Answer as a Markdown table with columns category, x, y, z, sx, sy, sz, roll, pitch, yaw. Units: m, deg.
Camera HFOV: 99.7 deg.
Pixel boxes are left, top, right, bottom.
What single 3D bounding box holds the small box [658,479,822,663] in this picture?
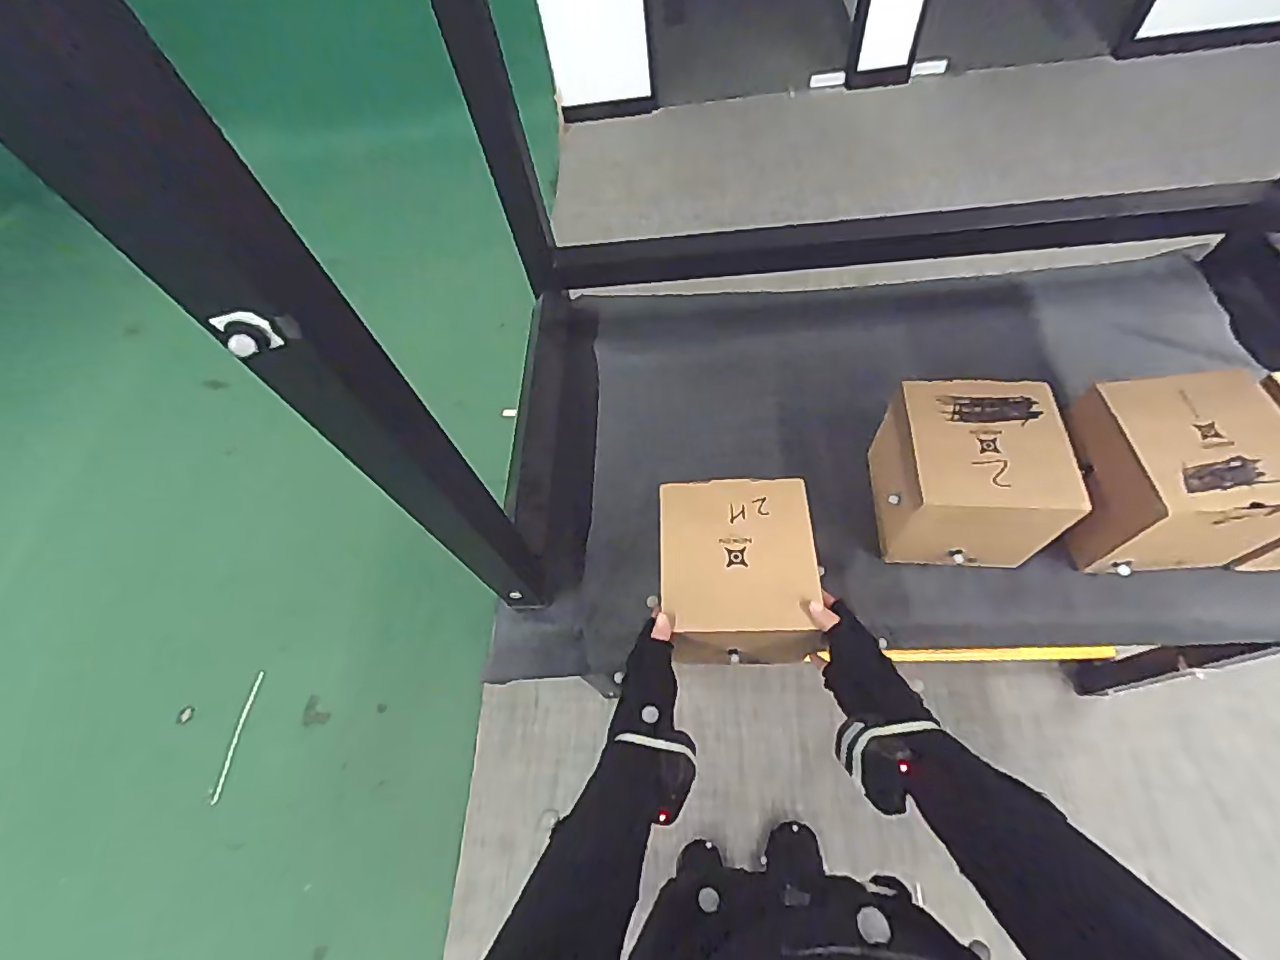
| category | x | y | z | sx | sy | sz | roll | pitch | yaw |
| --- | --- | --- | --- | --- | --- | --- | --- | --- | --- |
| small box | 0.110 | 0.117 | 0.646 | 0.168 | 0.176 | 0.179 | -2 | 59 | 5 |
